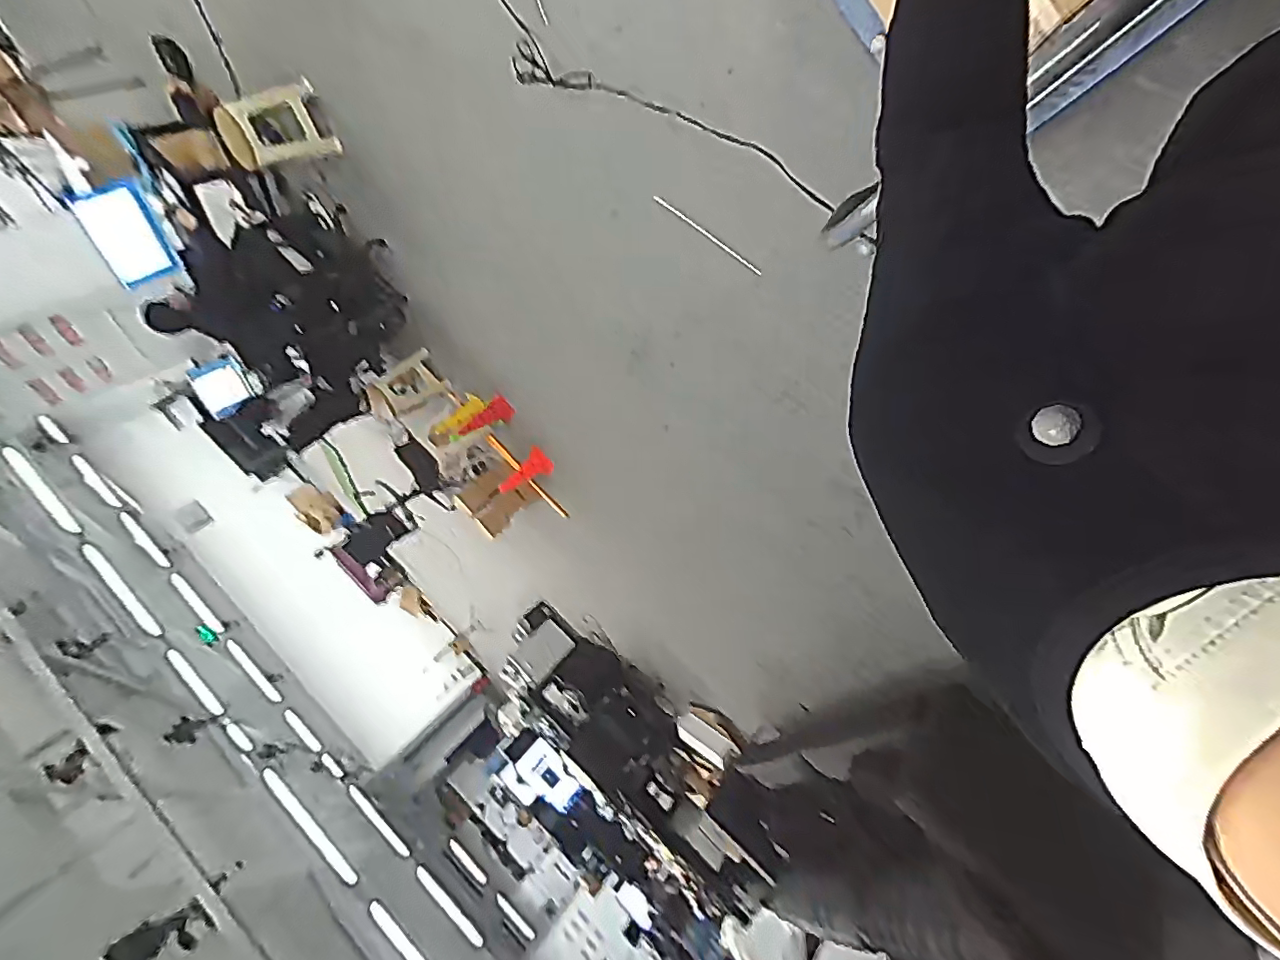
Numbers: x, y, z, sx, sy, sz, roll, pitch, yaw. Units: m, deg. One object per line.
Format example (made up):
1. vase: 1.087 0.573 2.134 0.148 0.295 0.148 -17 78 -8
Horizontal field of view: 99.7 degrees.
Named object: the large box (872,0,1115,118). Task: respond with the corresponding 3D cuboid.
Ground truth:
1. large box: 0.554 -0.855 0.805 0.408 0.320 0.320 52 148 -4
